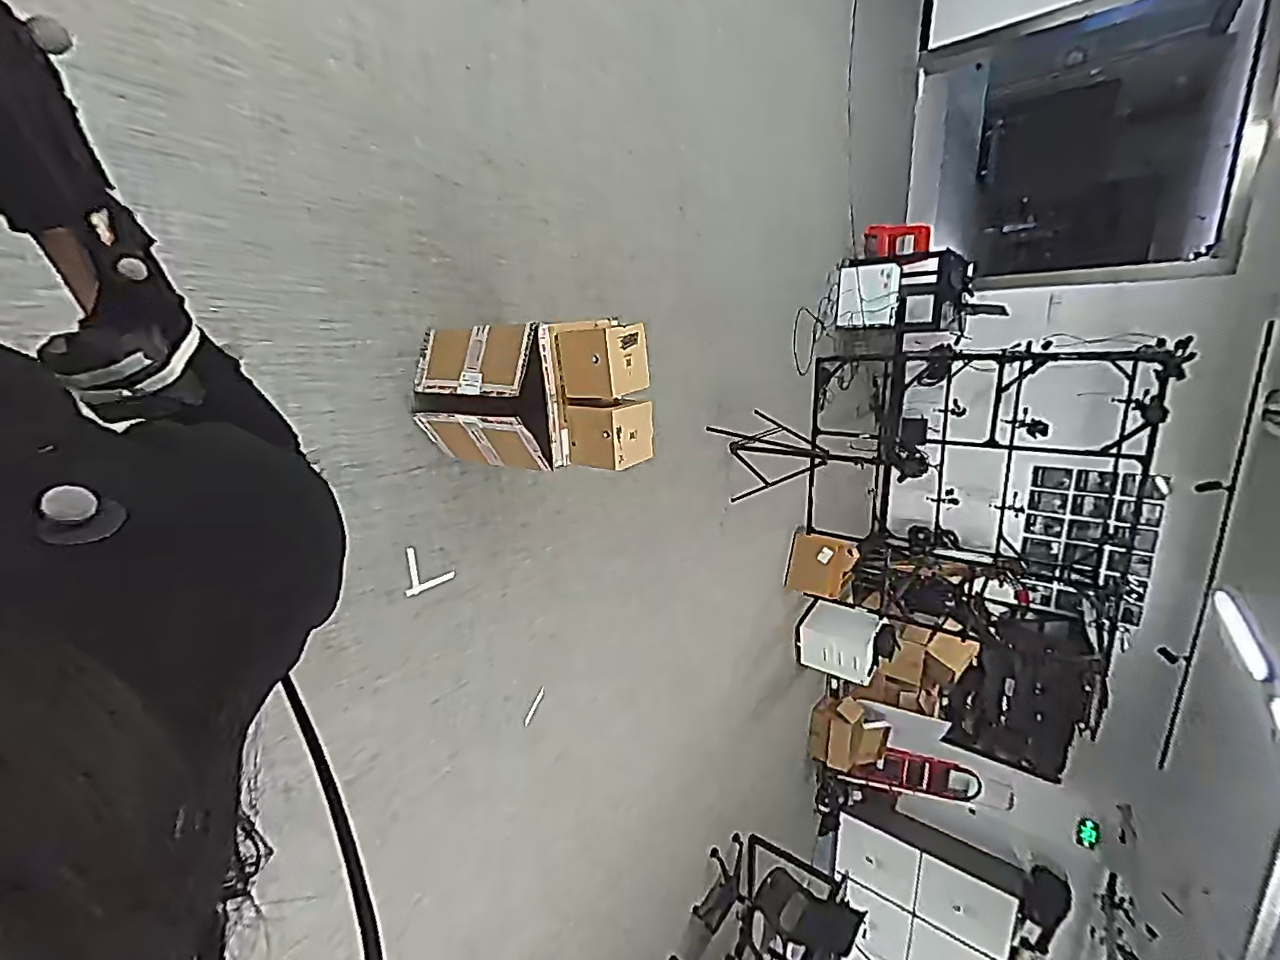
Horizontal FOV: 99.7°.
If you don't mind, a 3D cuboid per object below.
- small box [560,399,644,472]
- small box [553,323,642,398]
[{"bbox_3d":[-0.103,-0.130,1.506,0.179,0.176,0.168,-23,118,-51],"label":"small box"},{"bbox_3d":[-0.114,-0.319,1.447,0.168,0.176,0.179,-27,118,-49],"label":"small box"}]
